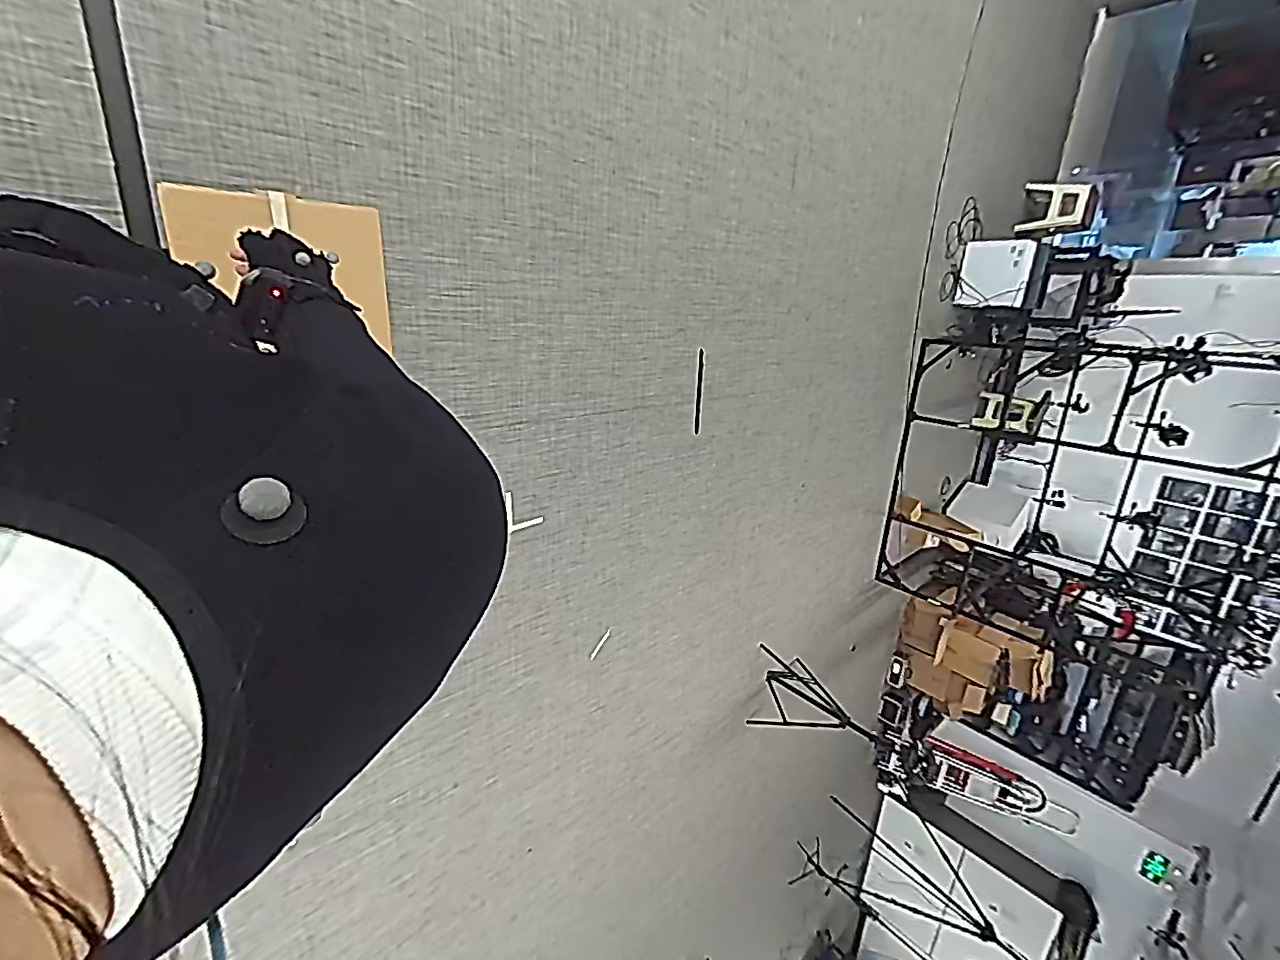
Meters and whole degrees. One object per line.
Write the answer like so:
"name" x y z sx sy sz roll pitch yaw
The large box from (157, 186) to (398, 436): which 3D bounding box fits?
"large box" -0.705 -0.332 1.081 0.320 0.320 0.408 -10 114 -34
